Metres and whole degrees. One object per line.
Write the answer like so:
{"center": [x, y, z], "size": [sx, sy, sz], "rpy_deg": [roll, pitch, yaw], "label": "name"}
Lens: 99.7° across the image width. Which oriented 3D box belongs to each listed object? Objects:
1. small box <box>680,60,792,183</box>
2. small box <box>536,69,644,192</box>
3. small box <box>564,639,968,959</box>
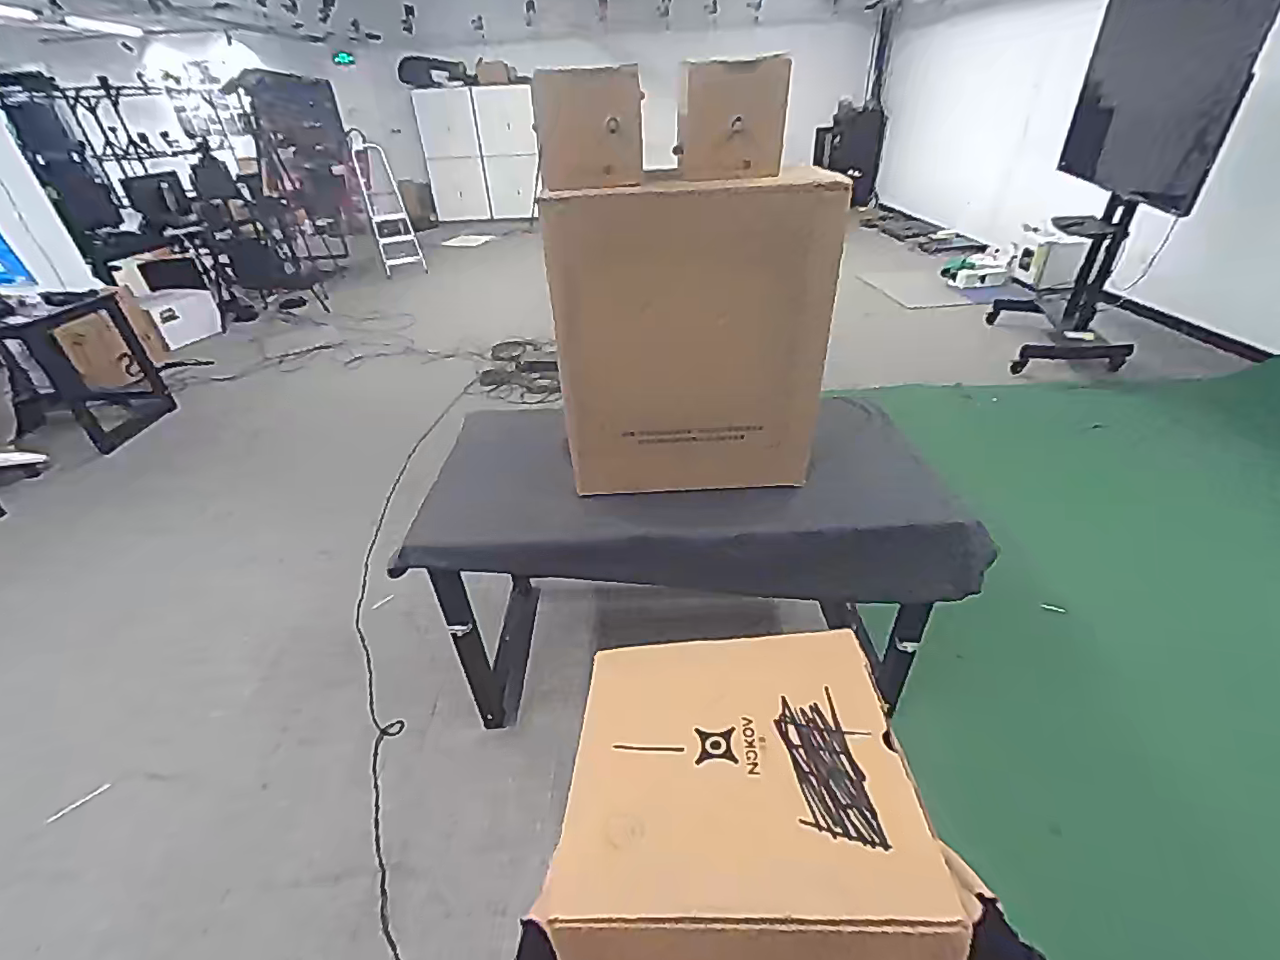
{"center": [0.160, -0.630, 0.956], "size": [0.168, 0.176, 0.179], "rpy_deg": [-3, 37, 0], "label": "small box"}
{"center": [-0.082, -0.606, 0.943], "size": [0.168, 0.176, 0.179], "rpy_deg": [-4, 35, -3], "label": "small box"}
{"center": [0.062, 0.224, 0.337], "size": [0.179, 0.176, 0.168], "rpy_deg": [-5, 26, 3], "label": "small box"}
